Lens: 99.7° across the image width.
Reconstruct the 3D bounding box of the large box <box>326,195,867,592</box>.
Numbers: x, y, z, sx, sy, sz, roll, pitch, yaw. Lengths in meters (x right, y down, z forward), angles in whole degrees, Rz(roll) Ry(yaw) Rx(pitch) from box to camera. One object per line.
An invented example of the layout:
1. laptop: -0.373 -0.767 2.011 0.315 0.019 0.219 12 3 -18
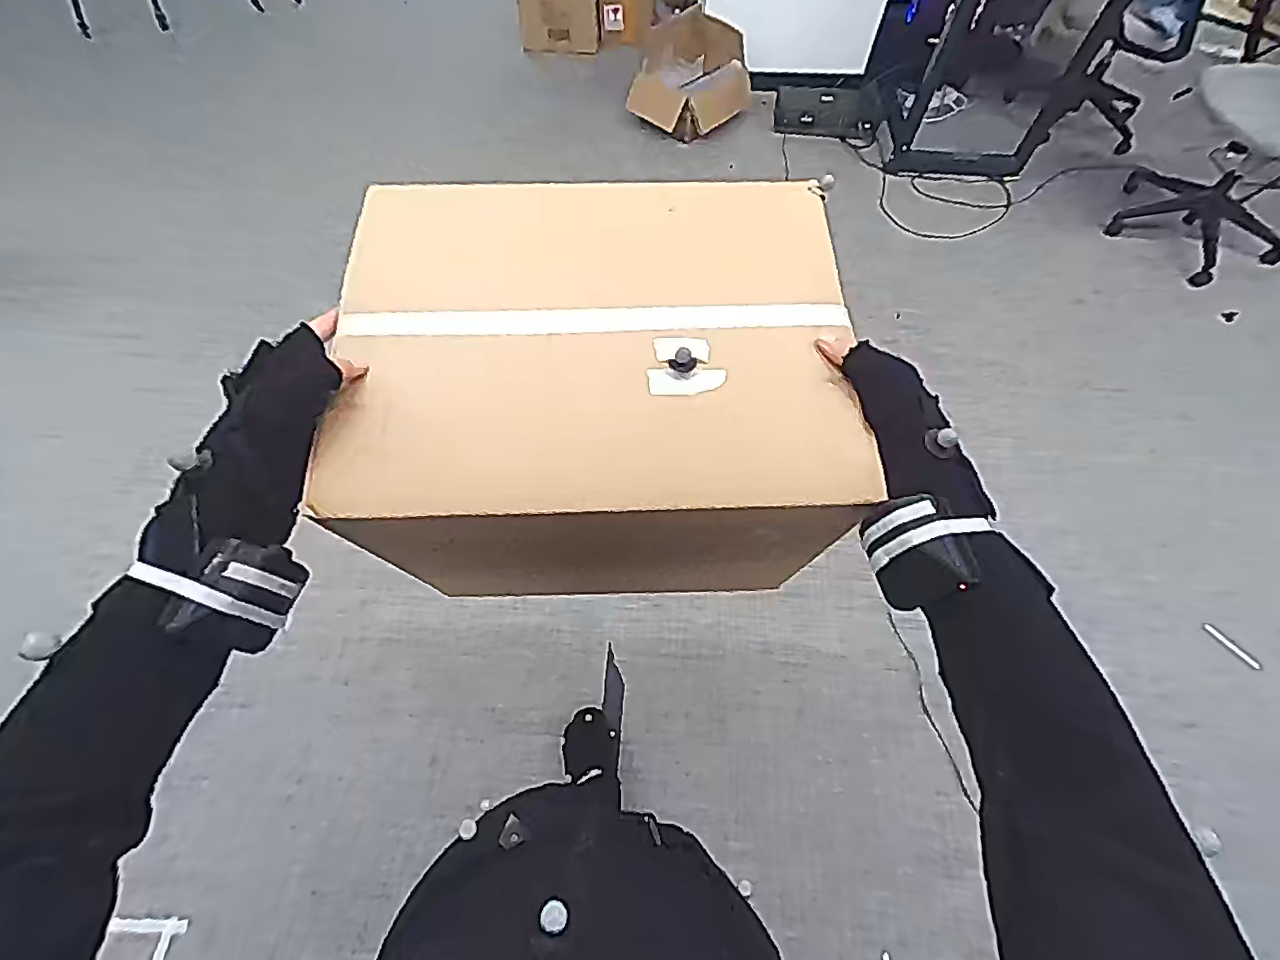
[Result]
1. large box: -0.038 -0.067 0.585 0.408 0.320 0.320 -1 68 -1
